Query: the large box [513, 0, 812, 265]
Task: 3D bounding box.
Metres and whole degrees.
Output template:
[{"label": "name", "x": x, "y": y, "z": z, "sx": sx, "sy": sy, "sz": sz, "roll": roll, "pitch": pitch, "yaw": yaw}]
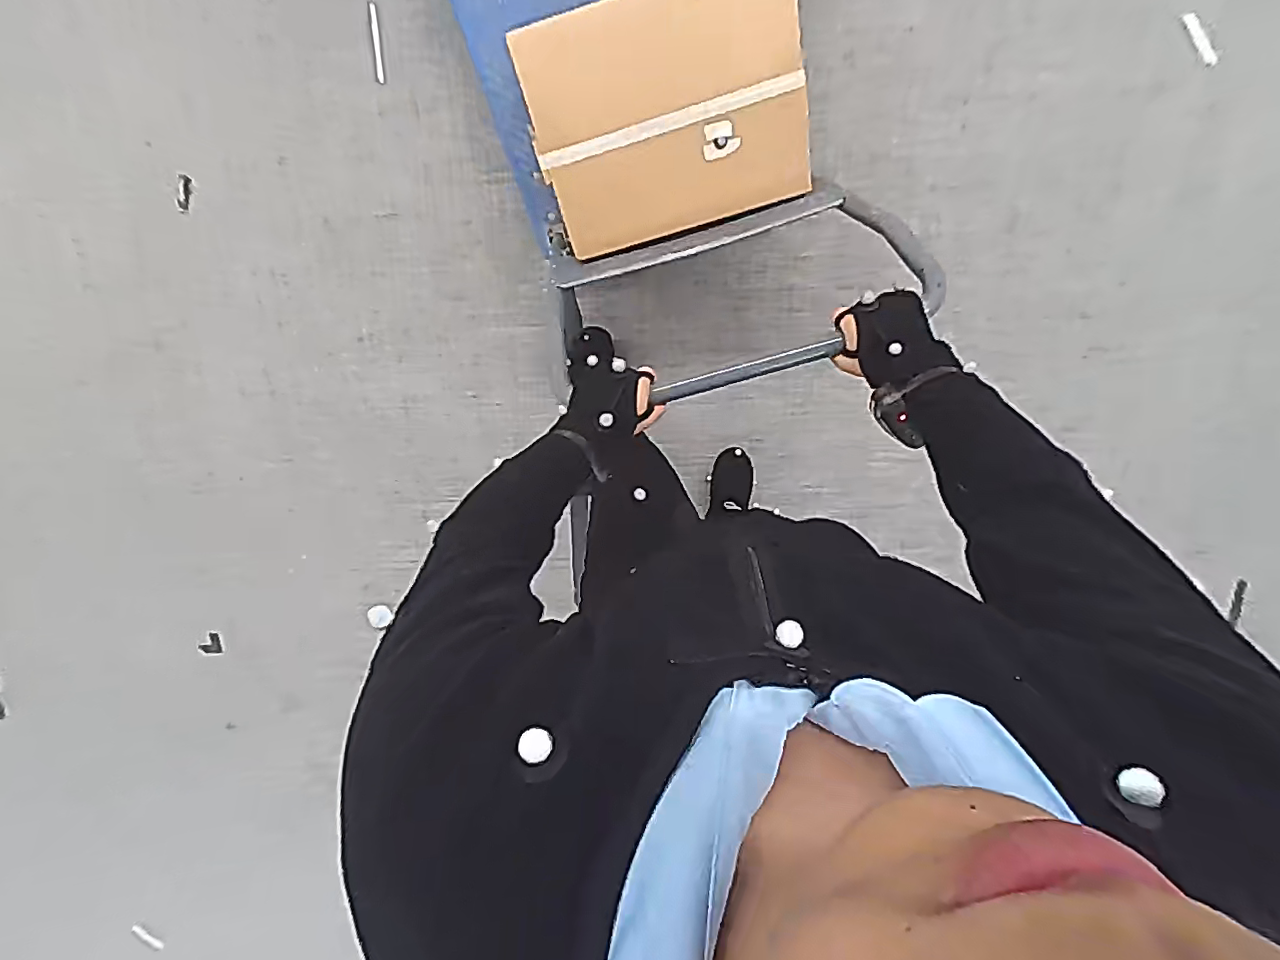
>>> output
[{"label": "large box", "x": 0.037, "y": -0.620, "z": 0.937, "sx": 0.408, "sy": 0.320, "sz": 0.320, "roll": -16, "pitch": 126, "yaw": 5}]
